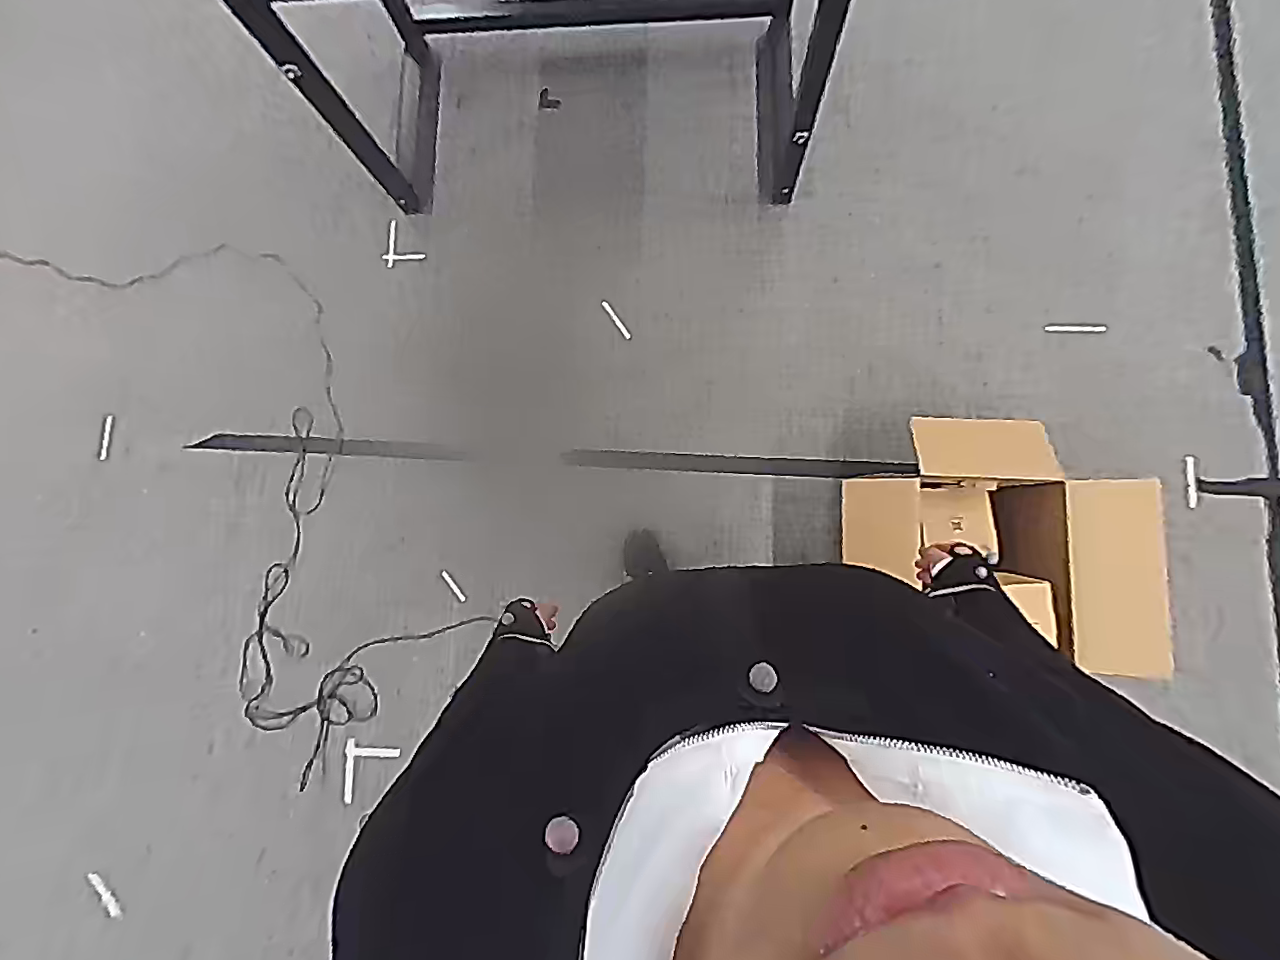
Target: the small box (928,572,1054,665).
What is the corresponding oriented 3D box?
[{"bbox_3d":[0.747,0.294,1.174,0.179,0.176,0.168,-4,87,5],"label":"small box"}]
